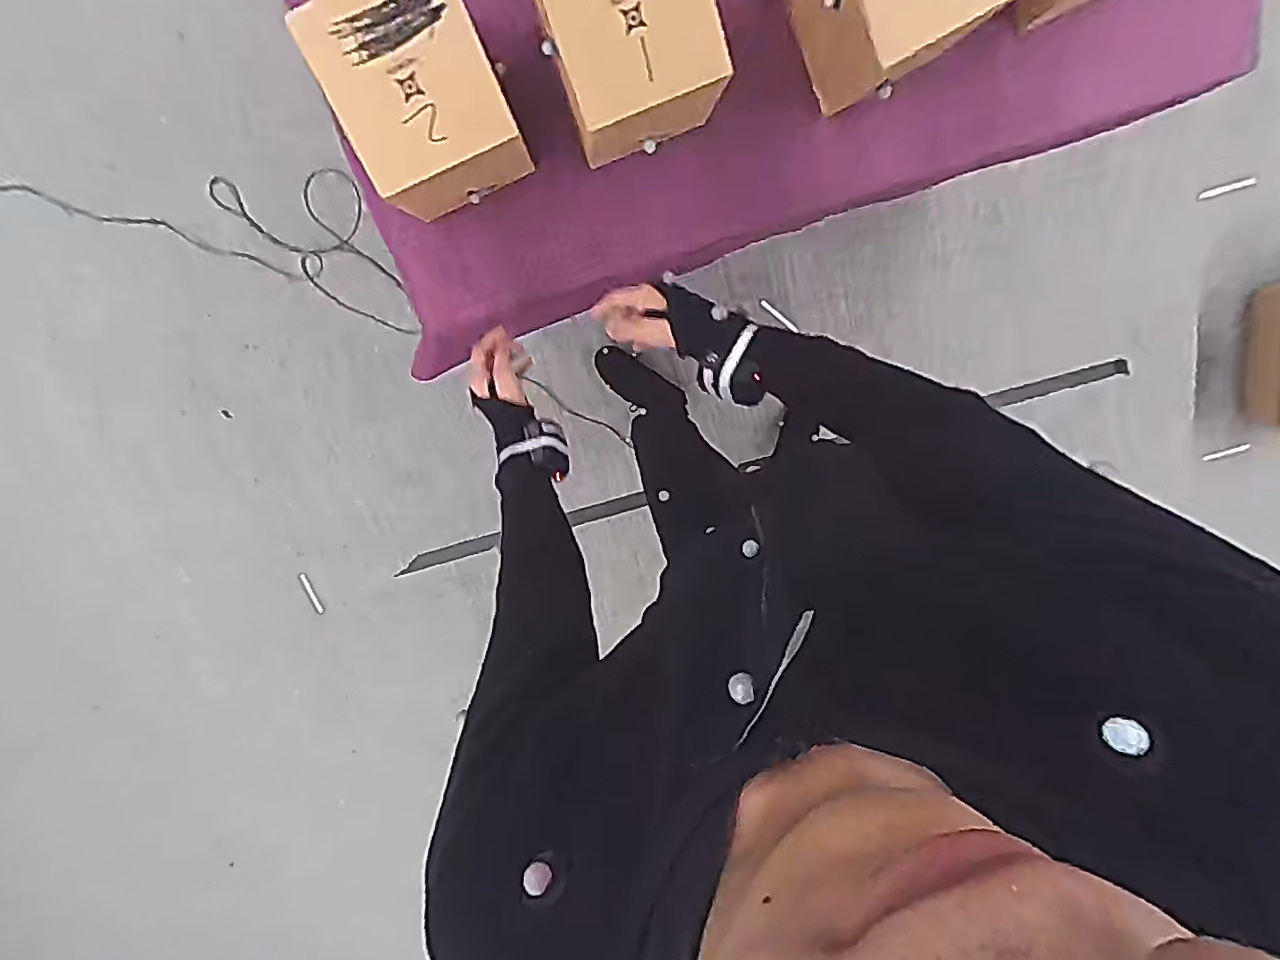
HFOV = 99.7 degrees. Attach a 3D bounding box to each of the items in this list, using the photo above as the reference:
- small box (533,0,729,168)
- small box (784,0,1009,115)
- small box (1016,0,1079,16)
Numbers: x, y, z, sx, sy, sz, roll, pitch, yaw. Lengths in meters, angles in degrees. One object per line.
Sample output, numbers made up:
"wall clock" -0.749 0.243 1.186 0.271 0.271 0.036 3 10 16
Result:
"small box" -0.017 -0.491 0.614 0.168 0.176 0.179 -21 108 3
"small box" 0.280 -0.564 0.612 0.168 0.176 0.179 -27 107 6
"small box" 0.537 -0.665 0.595 0.168 0.176 0.179 -23 107 4
